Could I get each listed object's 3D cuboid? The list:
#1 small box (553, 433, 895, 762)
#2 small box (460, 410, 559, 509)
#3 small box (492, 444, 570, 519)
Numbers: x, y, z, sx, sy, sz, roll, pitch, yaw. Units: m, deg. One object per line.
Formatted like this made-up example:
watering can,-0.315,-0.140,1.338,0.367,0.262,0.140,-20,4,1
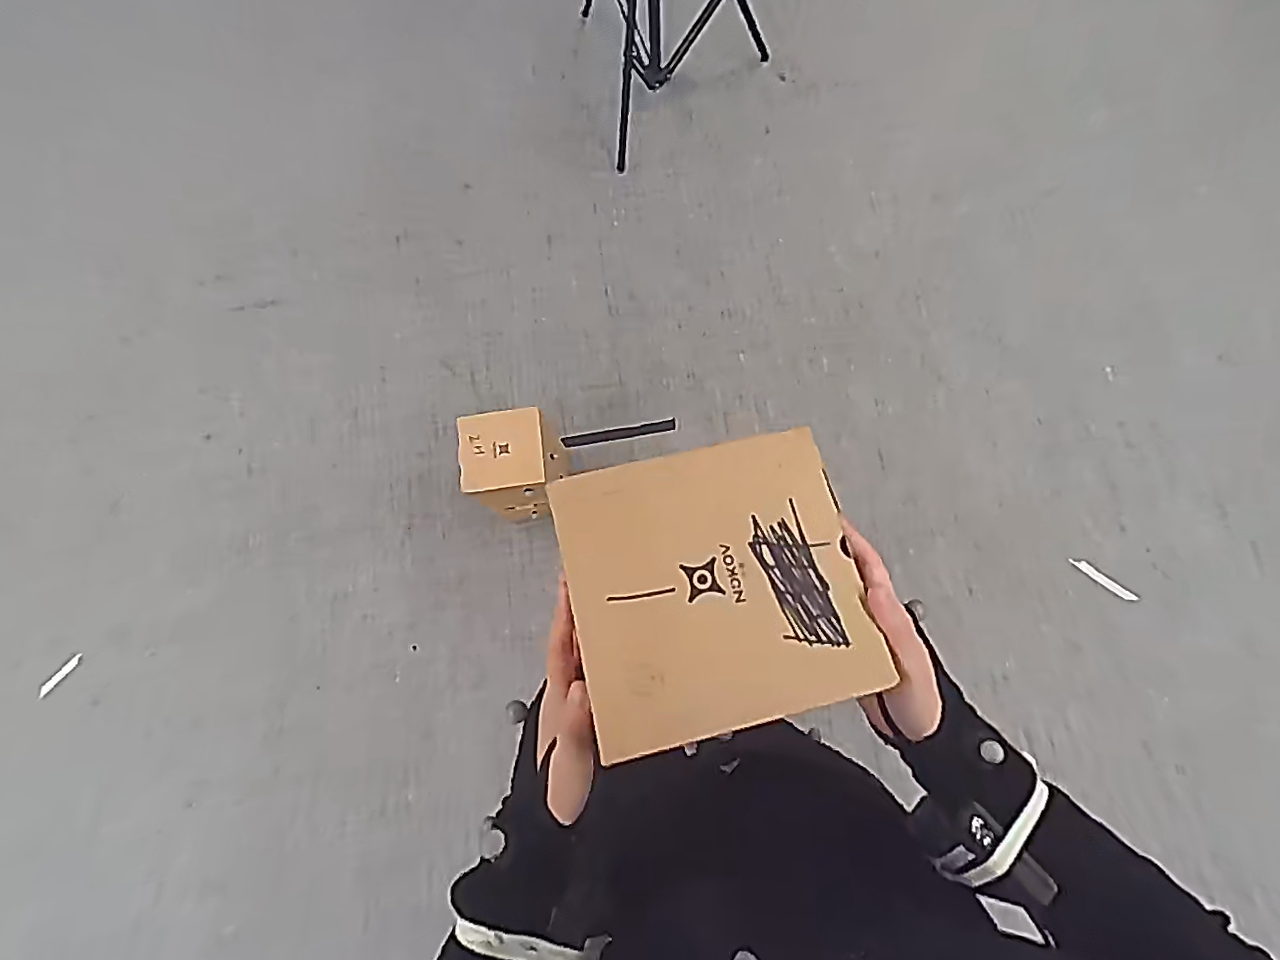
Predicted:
small box,0.043,0.084,0.398,0.179,0.176,0.168,-12,72,-6
small box,-0.276,-0.039,1.181,0.179,0.176,0.168,-8,76,2
small box,-0.268,0.000,1.342,0.168,0.176,0.179,-8,78,2
